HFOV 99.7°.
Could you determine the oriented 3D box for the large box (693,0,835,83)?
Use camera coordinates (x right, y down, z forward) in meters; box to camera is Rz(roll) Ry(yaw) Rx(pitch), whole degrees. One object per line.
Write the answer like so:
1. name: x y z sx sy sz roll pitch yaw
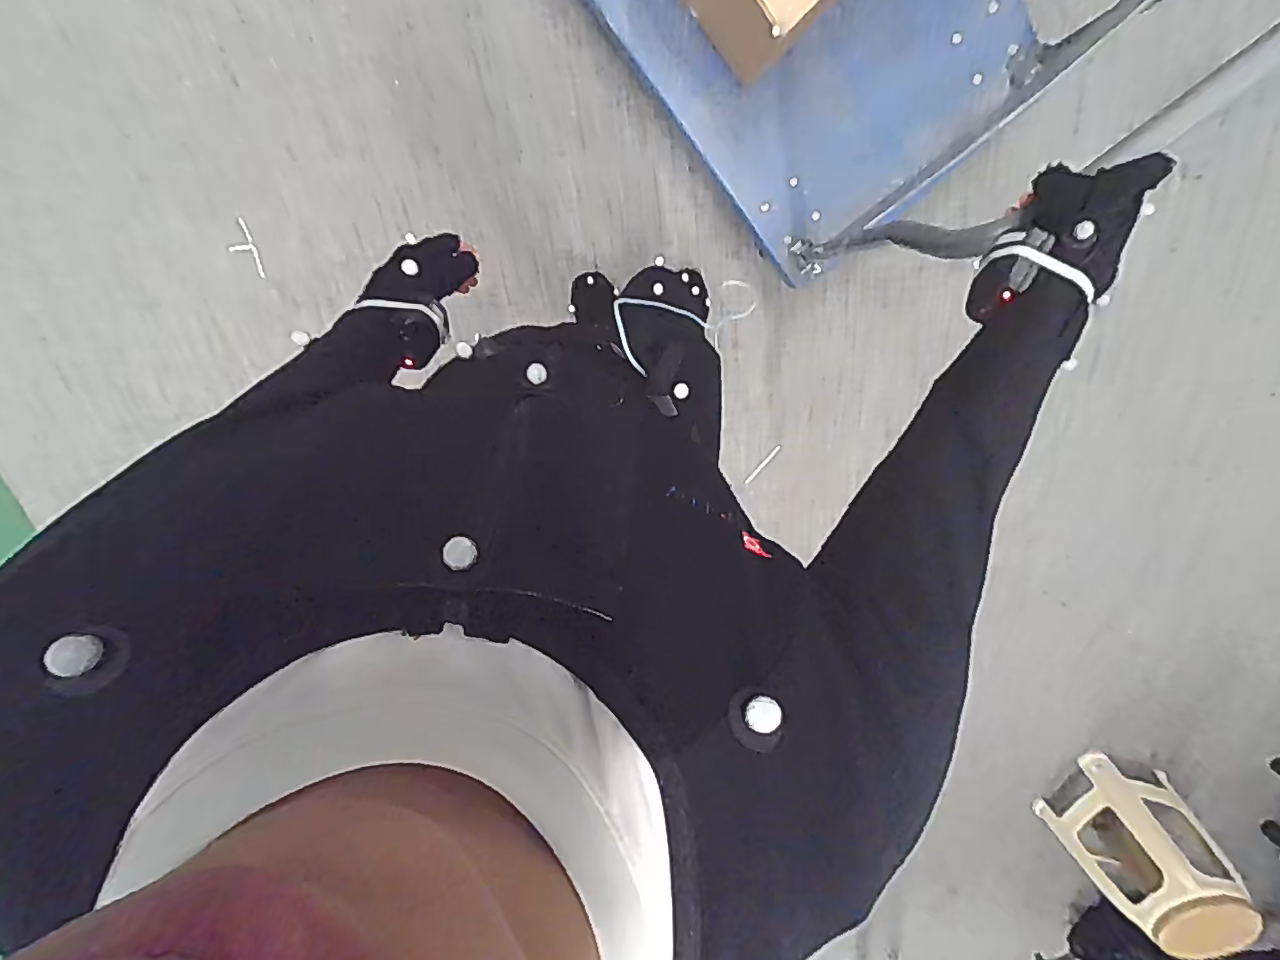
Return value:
1. large box: 0.251 -0.902 0.783 0.408 0.320 0.320 -39 107 18
